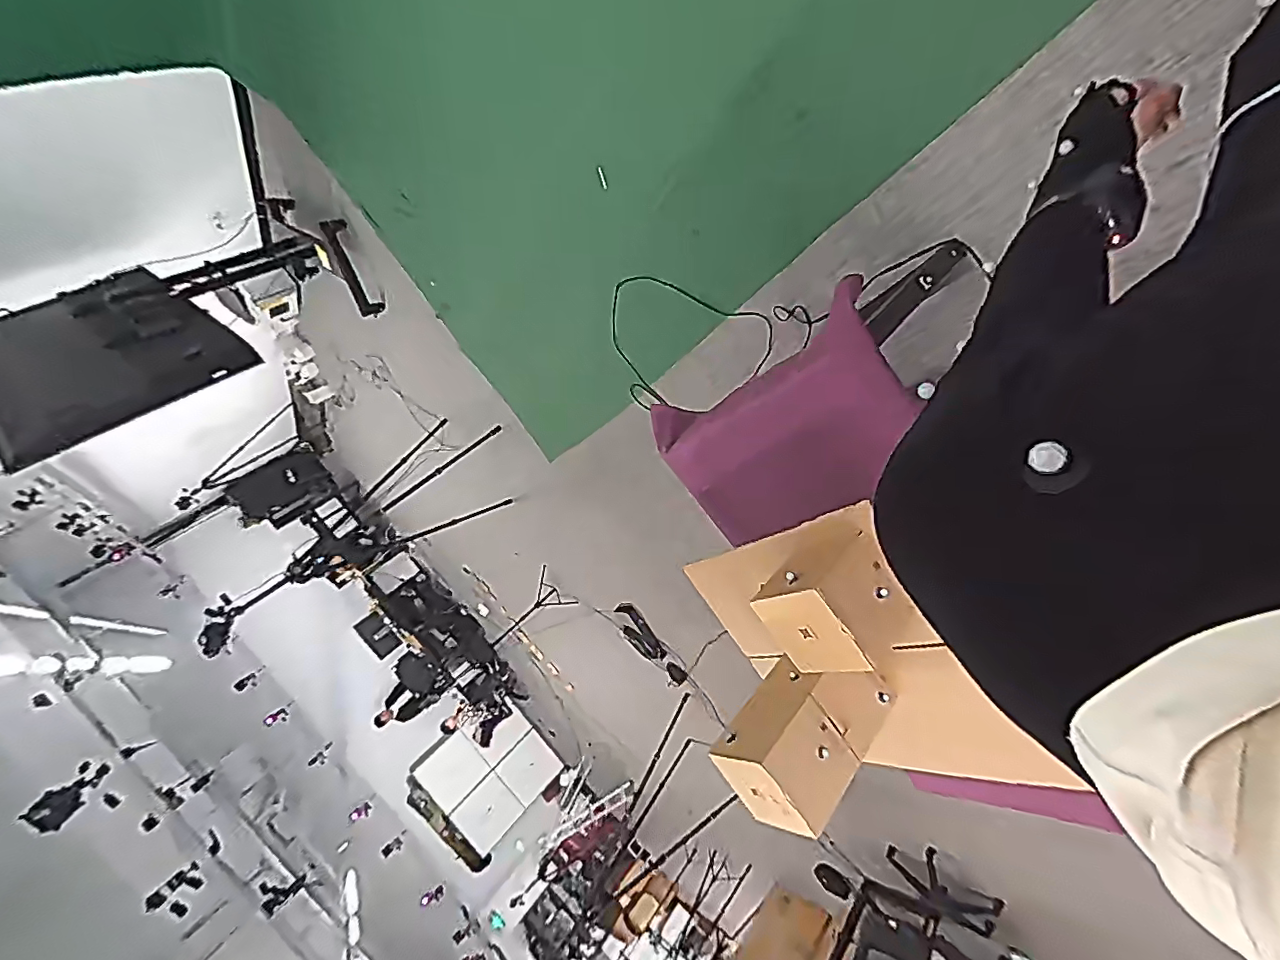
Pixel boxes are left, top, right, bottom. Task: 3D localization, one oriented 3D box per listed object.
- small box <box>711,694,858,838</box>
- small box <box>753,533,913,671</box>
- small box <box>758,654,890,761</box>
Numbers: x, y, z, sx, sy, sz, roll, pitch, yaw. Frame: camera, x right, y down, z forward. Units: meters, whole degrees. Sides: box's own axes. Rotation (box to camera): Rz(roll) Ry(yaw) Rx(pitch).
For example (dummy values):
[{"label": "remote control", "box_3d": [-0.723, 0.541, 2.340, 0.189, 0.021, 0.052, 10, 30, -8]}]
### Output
[{"label": "small box", "box_3d": [0.277, 0.532, 1.036, 0.168, 0.176, 0.179, 53, 146, -1]}, {"label": "small box", "box_3d": [0.345, 0.219, 0.967, 0.168, 0.176, 0.179, 53, 146, -1]}, {"label": "small box", "box_3d": [0.388, 0.447, 1.123, 0.168, 0.176, 0.179, 54, 148, 0]}]
